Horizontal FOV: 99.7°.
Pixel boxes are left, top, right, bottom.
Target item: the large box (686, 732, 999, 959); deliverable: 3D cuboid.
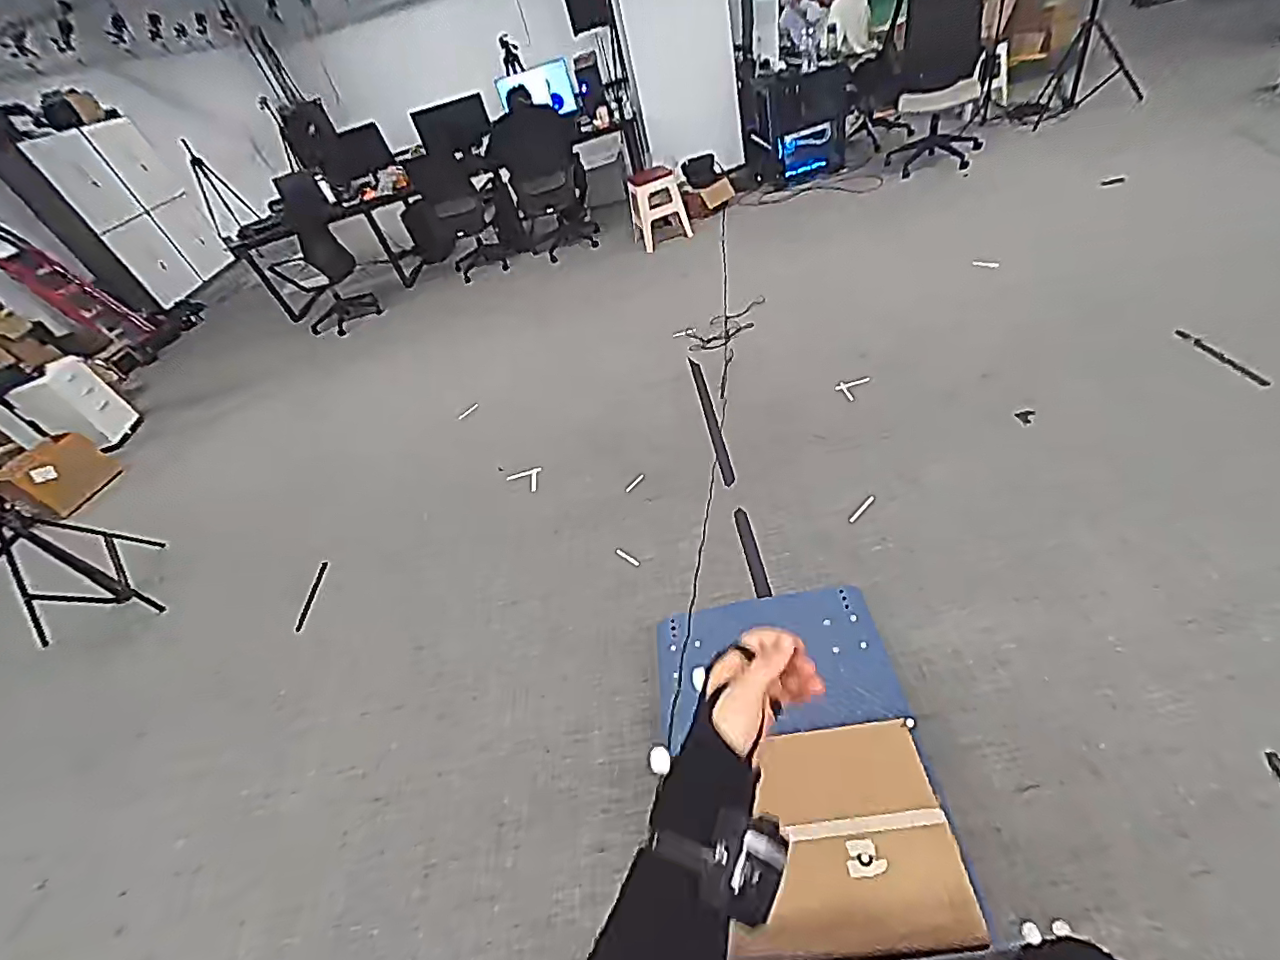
[{"bbox_3d":[0.317,0.688,0.949,0.408,0.320,0.320,-12,42,8],"label":"large box"}]
